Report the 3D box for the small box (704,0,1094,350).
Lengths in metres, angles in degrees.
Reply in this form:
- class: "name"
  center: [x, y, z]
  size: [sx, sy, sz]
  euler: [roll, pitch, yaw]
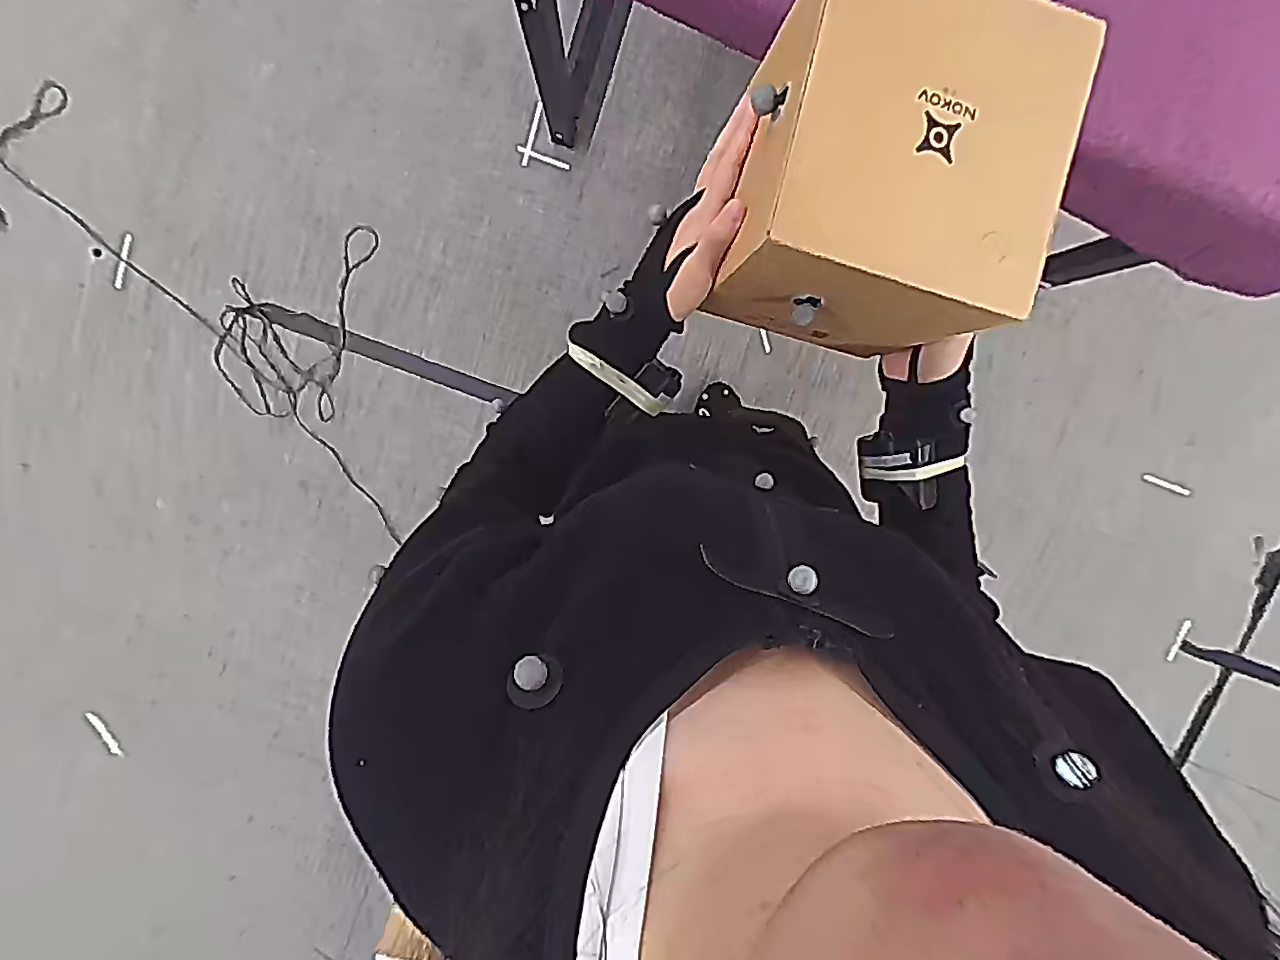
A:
- class: "small box"
  center: [0.155, -0.203, 0.383]
  size: [0.168, 0.176, 0.179]
  euler: [12, 92, -9]
